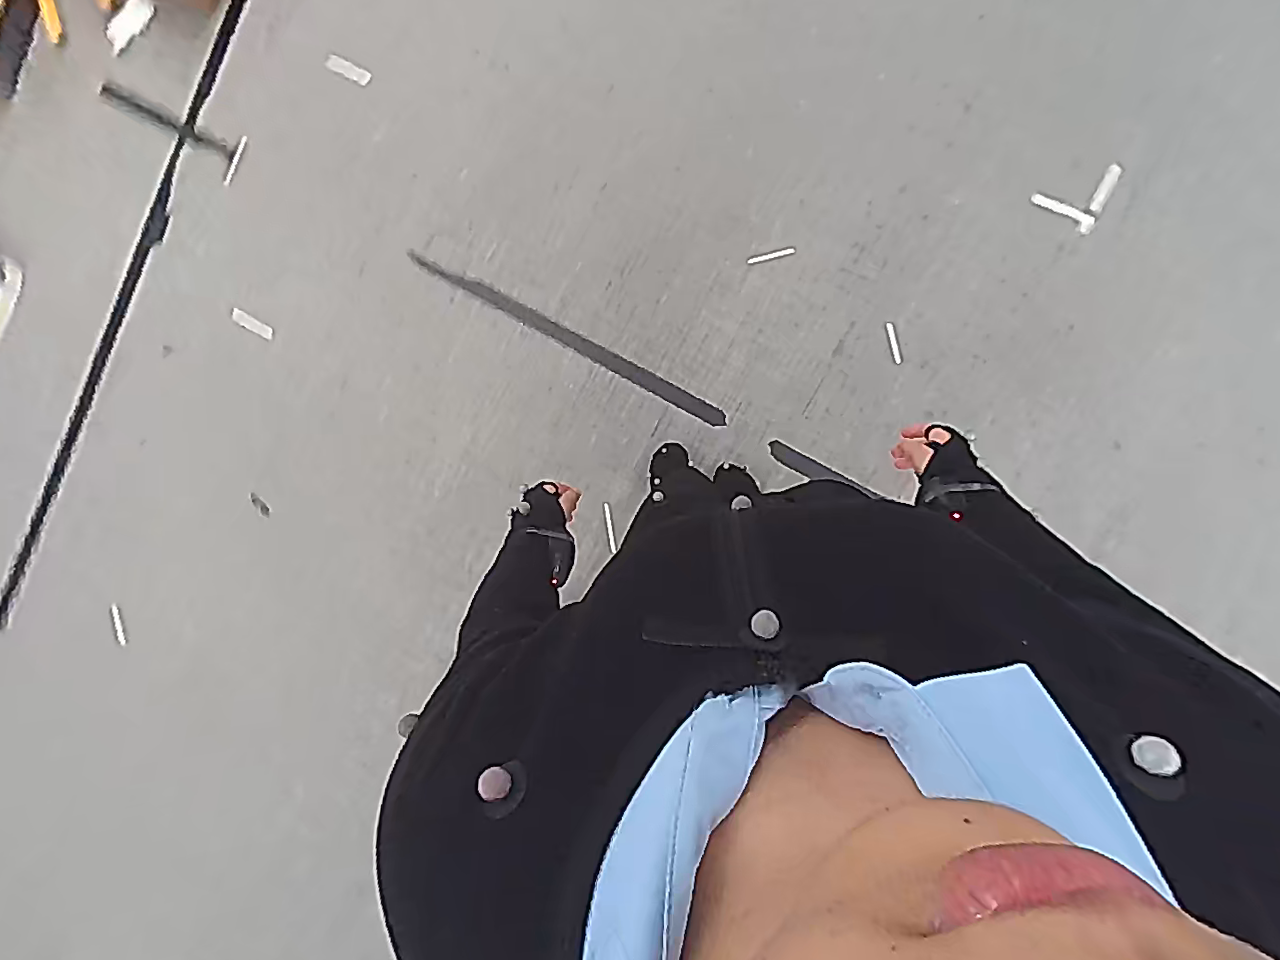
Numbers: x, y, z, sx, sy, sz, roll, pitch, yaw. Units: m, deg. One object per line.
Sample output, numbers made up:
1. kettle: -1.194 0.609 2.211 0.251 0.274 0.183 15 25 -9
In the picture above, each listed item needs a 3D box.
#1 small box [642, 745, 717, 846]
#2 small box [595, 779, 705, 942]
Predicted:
1. small box: 0.076 0.769 1.265 0.168 0.176 0.179 23 94 7
2. small box: 0.030 0.763 1.105 0.168 0.176 0.179 23 94 6
